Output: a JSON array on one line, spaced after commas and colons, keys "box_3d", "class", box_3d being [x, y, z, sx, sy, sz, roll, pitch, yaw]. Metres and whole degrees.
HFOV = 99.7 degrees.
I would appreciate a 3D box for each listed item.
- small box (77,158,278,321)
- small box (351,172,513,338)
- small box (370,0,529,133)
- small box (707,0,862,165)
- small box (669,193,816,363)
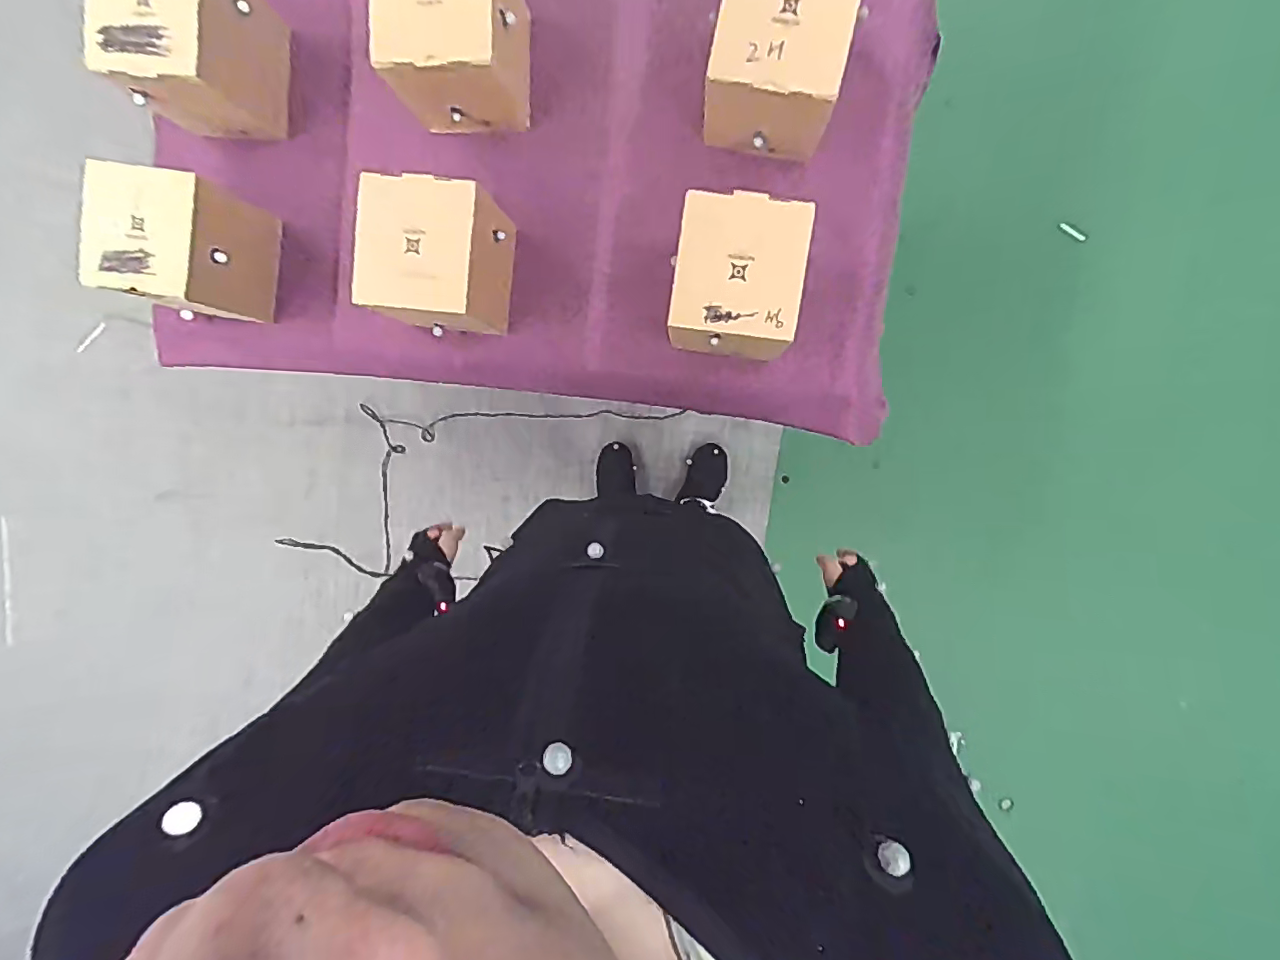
[{"box_3d": [-0.694, -0.353, 0.829, 0.168, 0.176, 0.179, 9, 95, 3], "class": "small box"}, {"box_3d": [-0.297, -0.322, 0.804, 0.168, 0.176, 0.179, 8, 96, 4], "class": "small box"}, {"box_3d": [-0.260, -0.631, 0.770, 0.168, 0.176, 0.179, 2, 97, 4], "class": "small box"}, {"box_3d": [0.188, -0.571, 0.738, 0.168, 0.176, 0.179, 13, 98, 4], "class": "small box"}, {"box_3d": [0.136, -0.276, 0.773, 0.168, 0.176, 0.179, 9, 95, 5], "class": "small box"}]
